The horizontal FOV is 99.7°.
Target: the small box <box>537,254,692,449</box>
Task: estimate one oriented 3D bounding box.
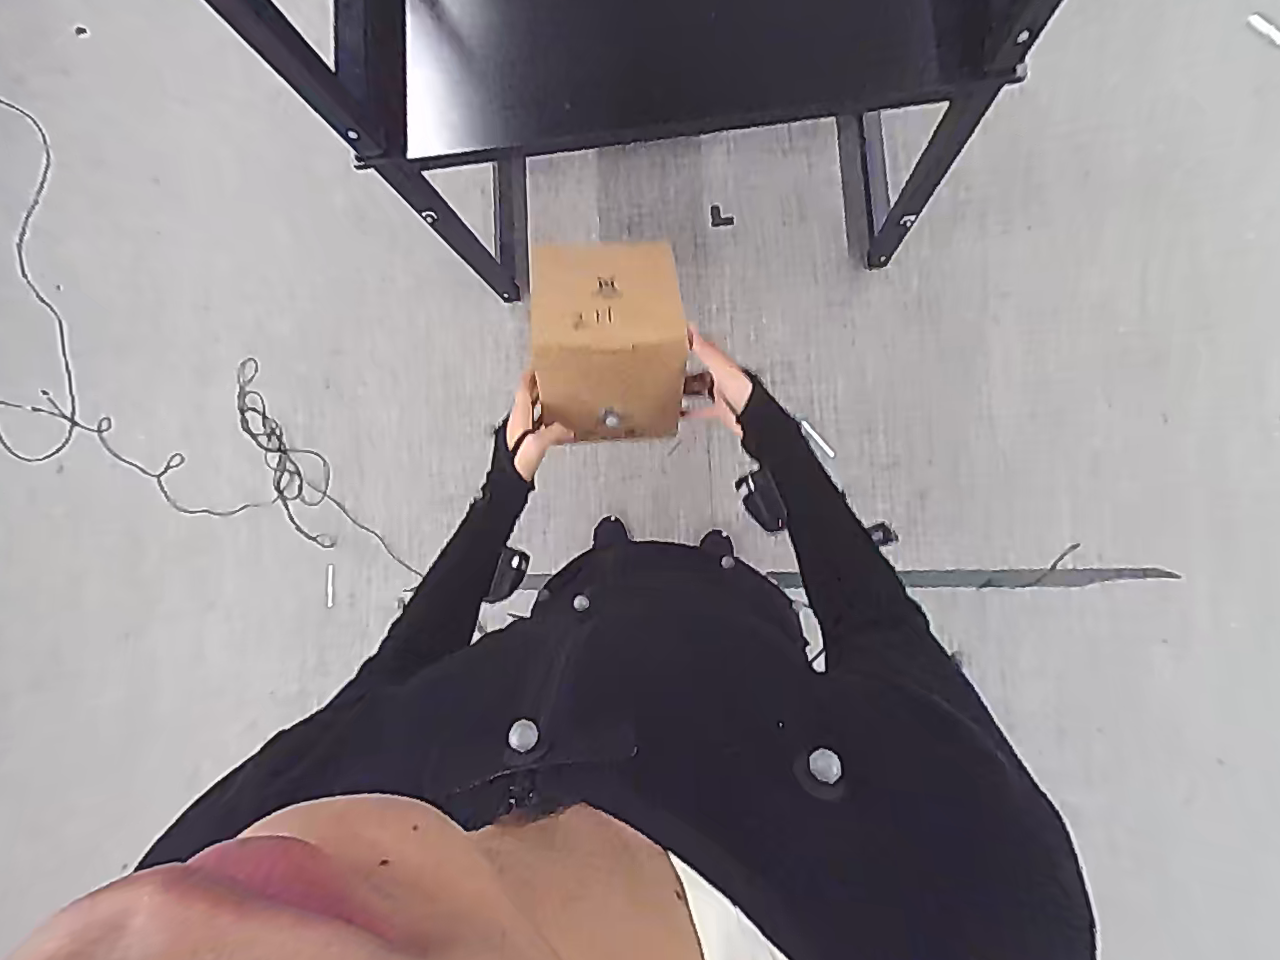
[{"bbox_3d":[-0.033,-0.158,0.675,0.168,0.176,0.179,-3,56,-3],"label":"small box"}]
